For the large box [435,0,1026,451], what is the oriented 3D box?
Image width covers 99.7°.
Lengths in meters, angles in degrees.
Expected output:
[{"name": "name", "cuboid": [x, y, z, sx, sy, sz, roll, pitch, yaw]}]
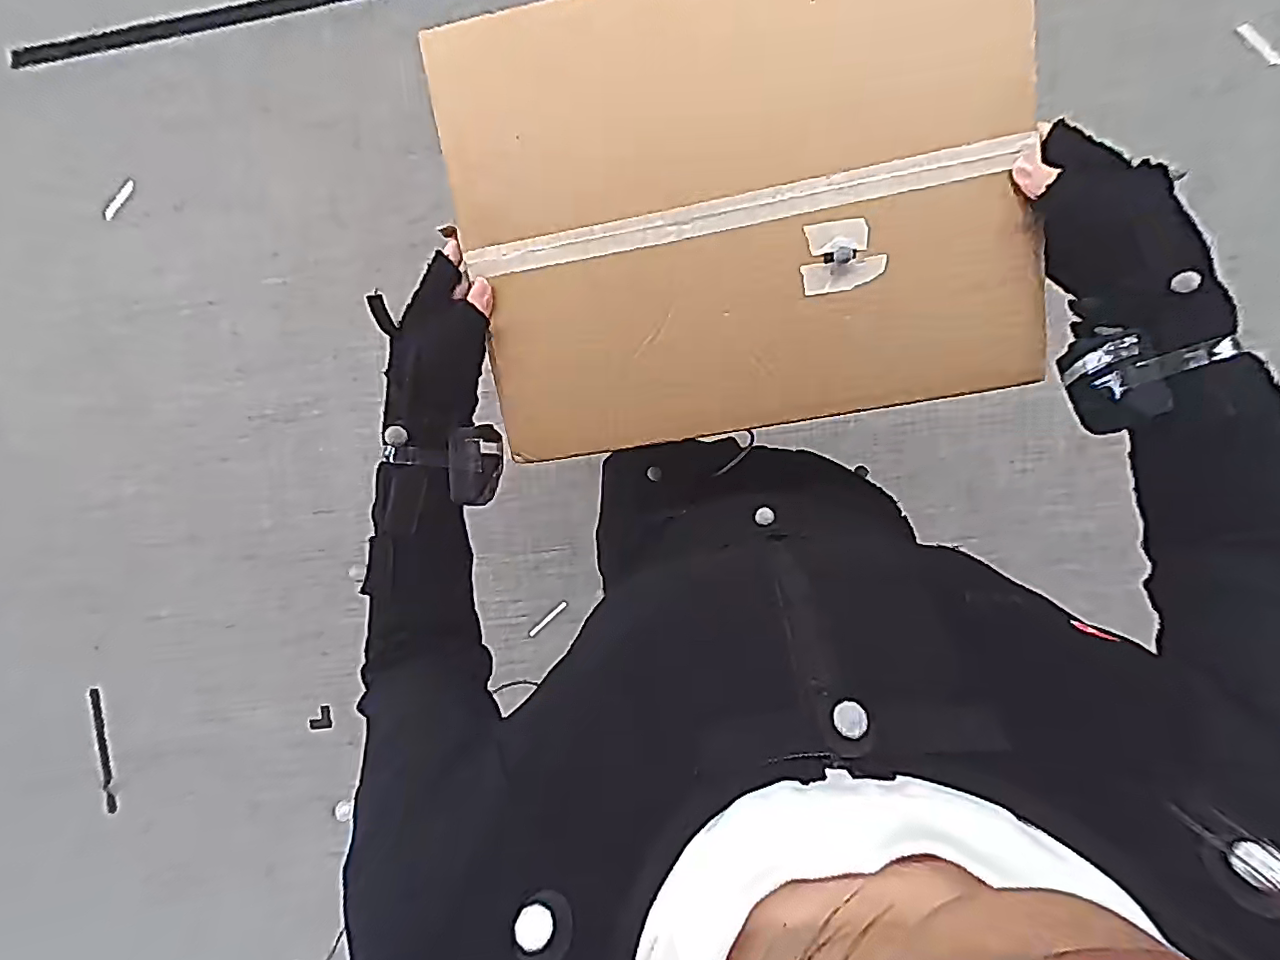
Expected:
[{"name": "large box", "cuboid": [0.078, -0.232, 0.546, 0.408, 0.320, 0.320, -9, 101, 5]}]
